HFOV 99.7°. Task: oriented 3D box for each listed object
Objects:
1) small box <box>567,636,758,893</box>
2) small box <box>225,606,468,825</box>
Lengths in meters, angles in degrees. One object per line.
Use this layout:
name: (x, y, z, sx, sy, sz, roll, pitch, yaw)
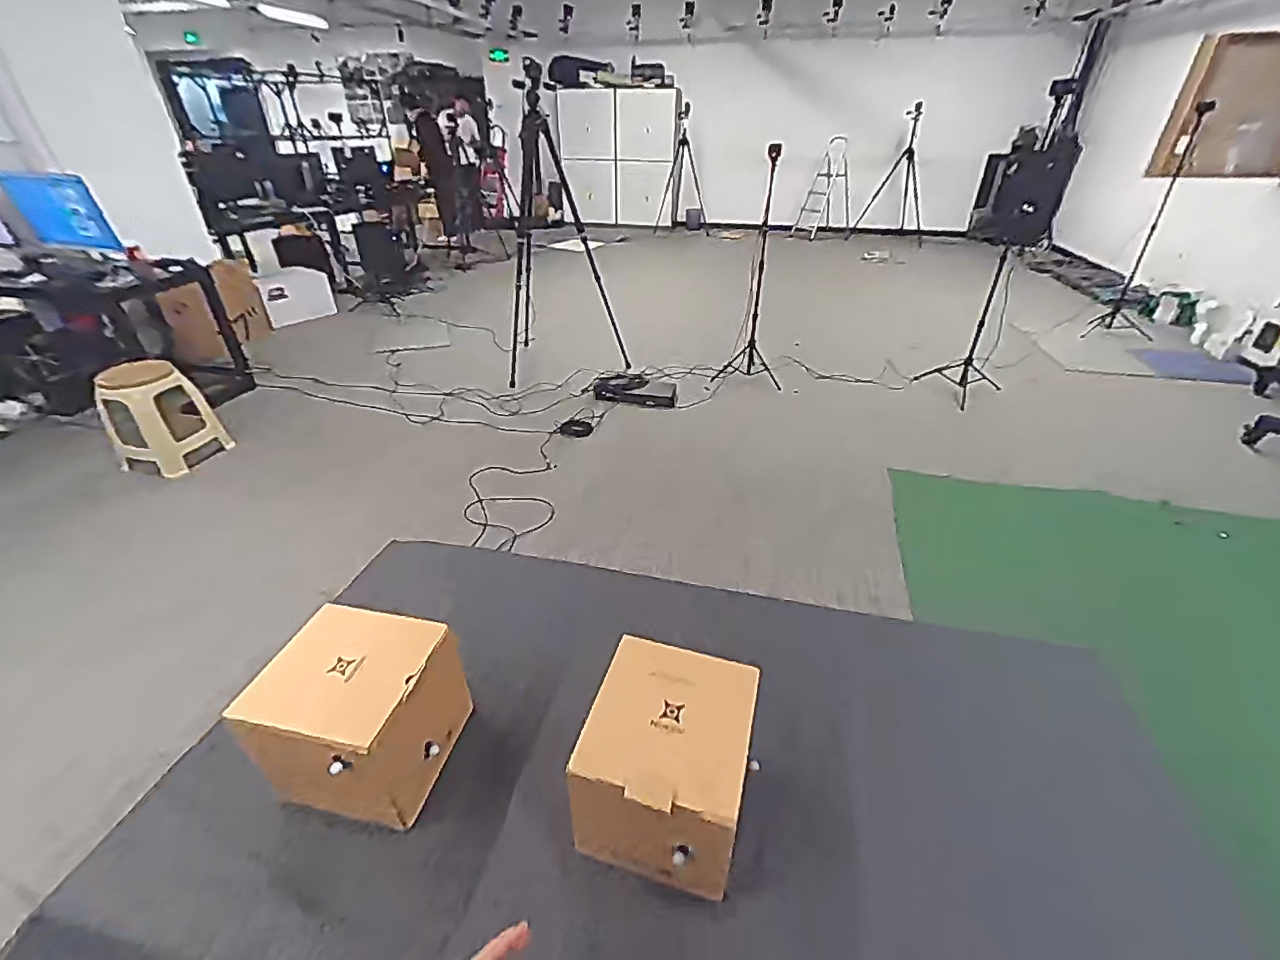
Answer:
small box: (0.031, 0.313, 0.604, 0.168, 0.176, 0.179, 10, 33, 13)
small box: (-0.332, 0.280, 0.652, 0.179, 0.176, 0.168, 7, 33, 9)
